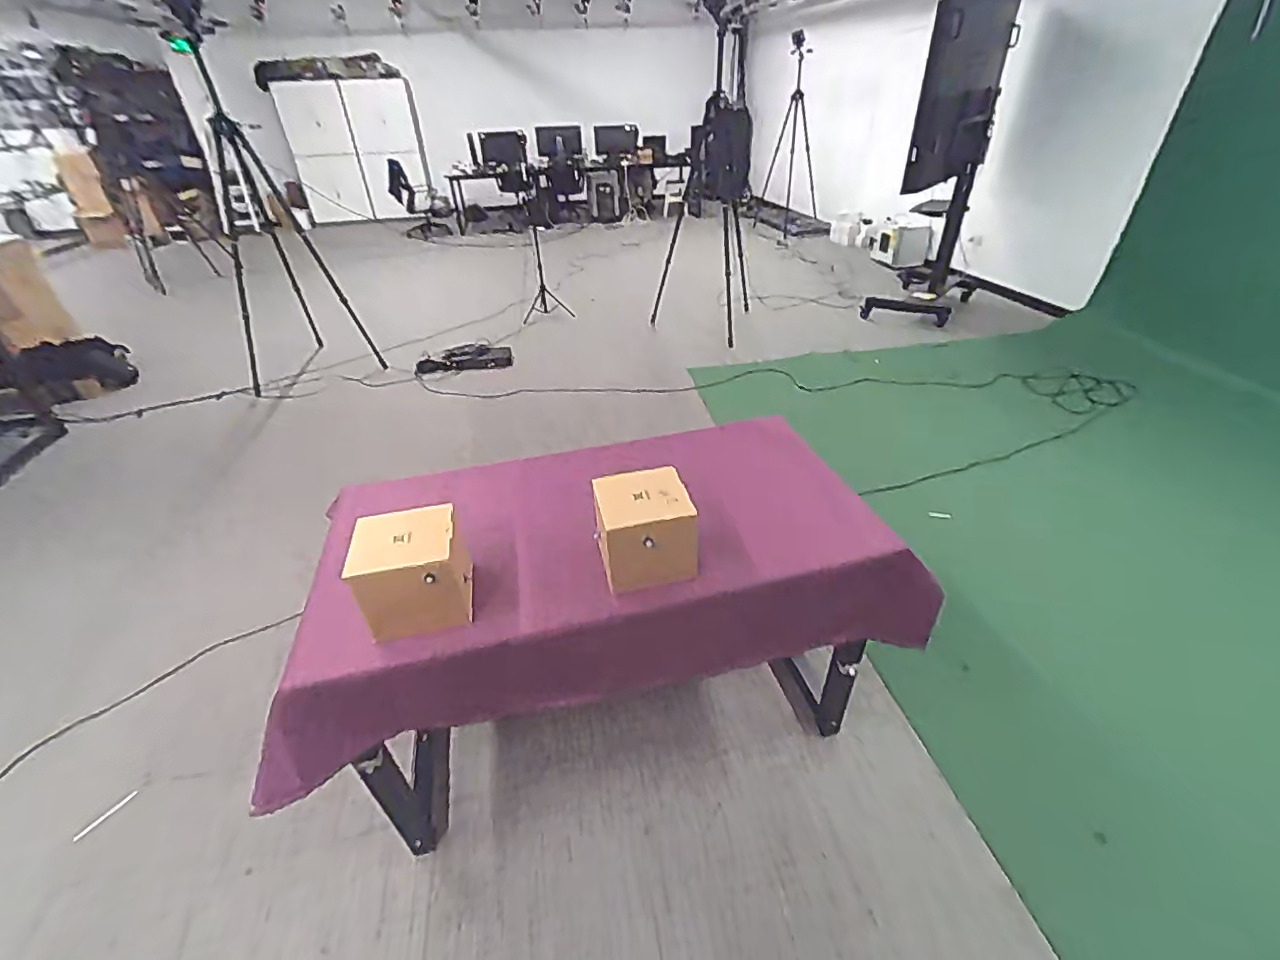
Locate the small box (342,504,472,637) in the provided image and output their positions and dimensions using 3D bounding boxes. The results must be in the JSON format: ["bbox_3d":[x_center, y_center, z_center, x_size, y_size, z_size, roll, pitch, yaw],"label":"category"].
[{"bbox_3d":[-0.421,0.170,1.009,0.179,0.176,0.168,-9,36,-11],"label":"small box"}]

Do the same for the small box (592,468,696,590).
[{"bbox_3d":[0.008,0.100,1.083,0.179,0.176,0.168,-9,36,-9],"label":"small box"}]
